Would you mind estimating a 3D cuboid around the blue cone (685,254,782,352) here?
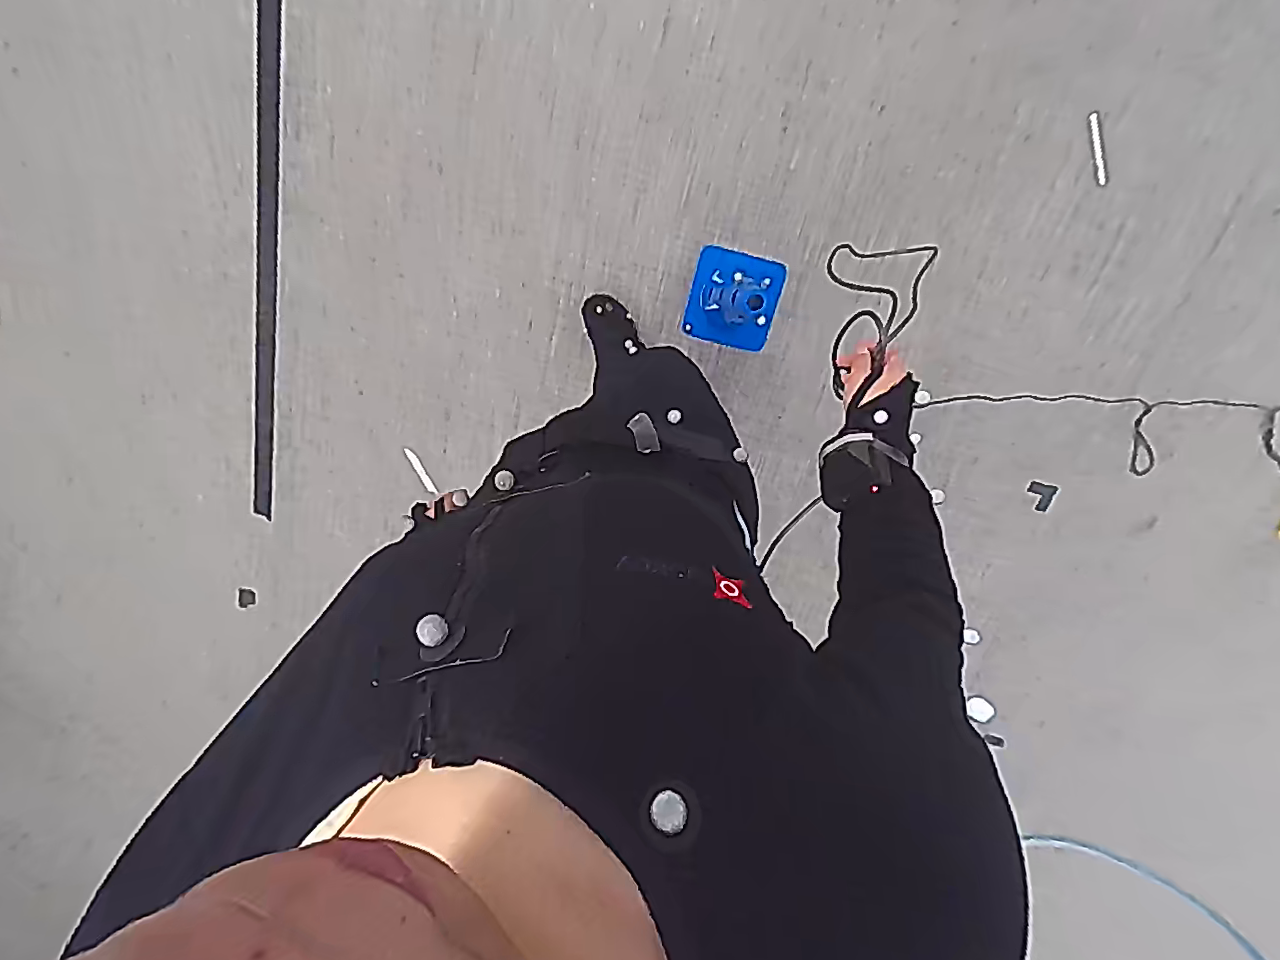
[{"bbox_3d":[0.200,-0.343,1.067,0.193,0.380,0.192,15,110,-2],"label":"blue cone"}]
